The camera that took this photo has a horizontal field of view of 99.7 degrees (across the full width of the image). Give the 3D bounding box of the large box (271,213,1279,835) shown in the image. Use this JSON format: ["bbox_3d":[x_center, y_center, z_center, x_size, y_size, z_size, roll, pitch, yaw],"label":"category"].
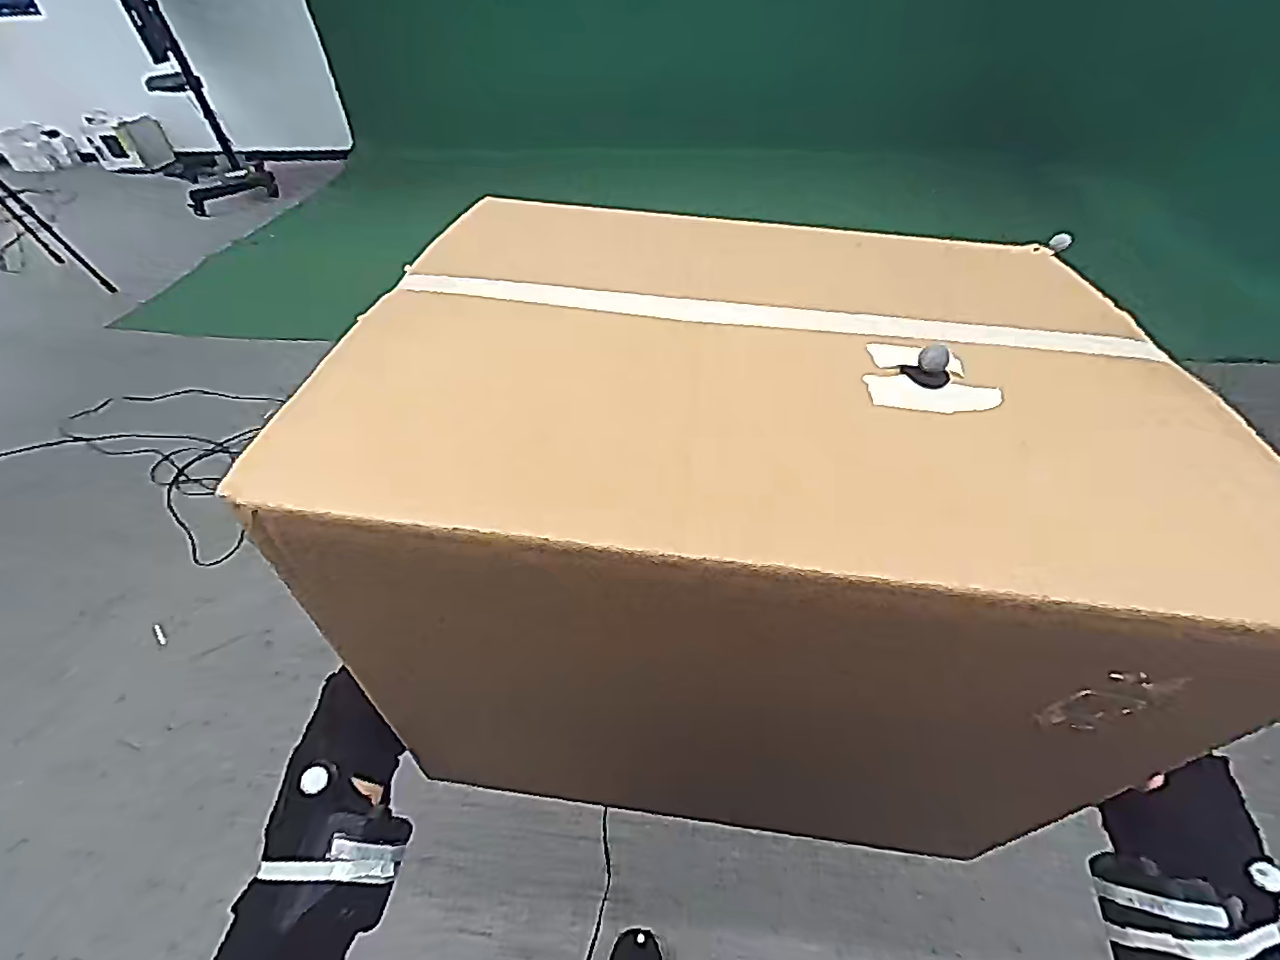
[{"bbox_3d":[0.062,0.029,0.404,0.408,0.320,0.320,7,46,3],"label":"large box"}]
